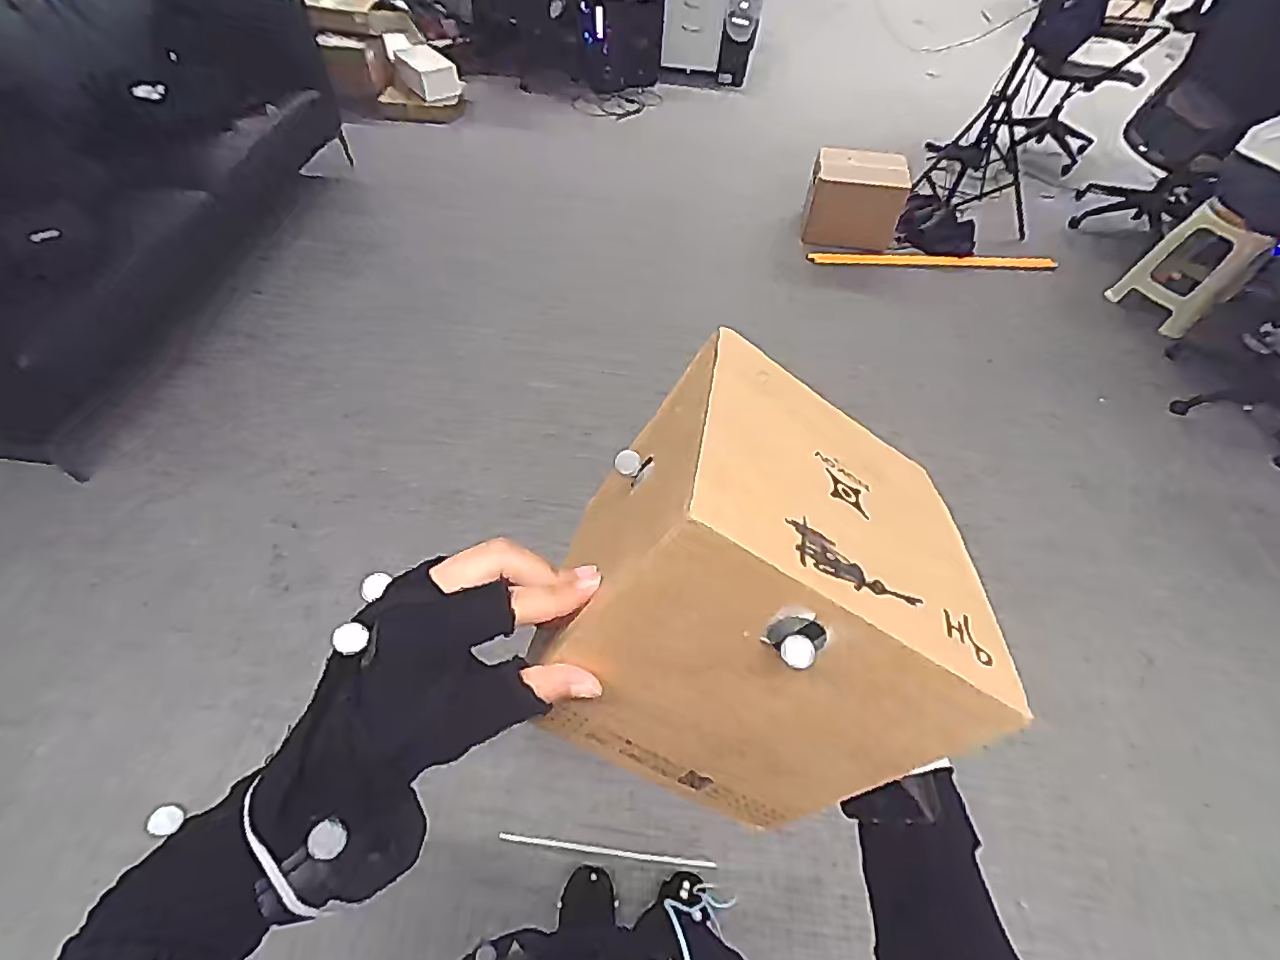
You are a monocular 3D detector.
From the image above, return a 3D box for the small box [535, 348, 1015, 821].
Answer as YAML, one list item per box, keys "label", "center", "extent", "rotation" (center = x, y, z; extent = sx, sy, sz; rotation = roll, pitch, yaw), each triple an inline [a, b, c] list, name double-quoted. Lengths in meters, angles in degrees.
- label: "small box"
  center: [0.059, 0.059, 0.321]
  extent: [0.168, 0.176, 0.179]
  rotation: [31, 35, -10]
